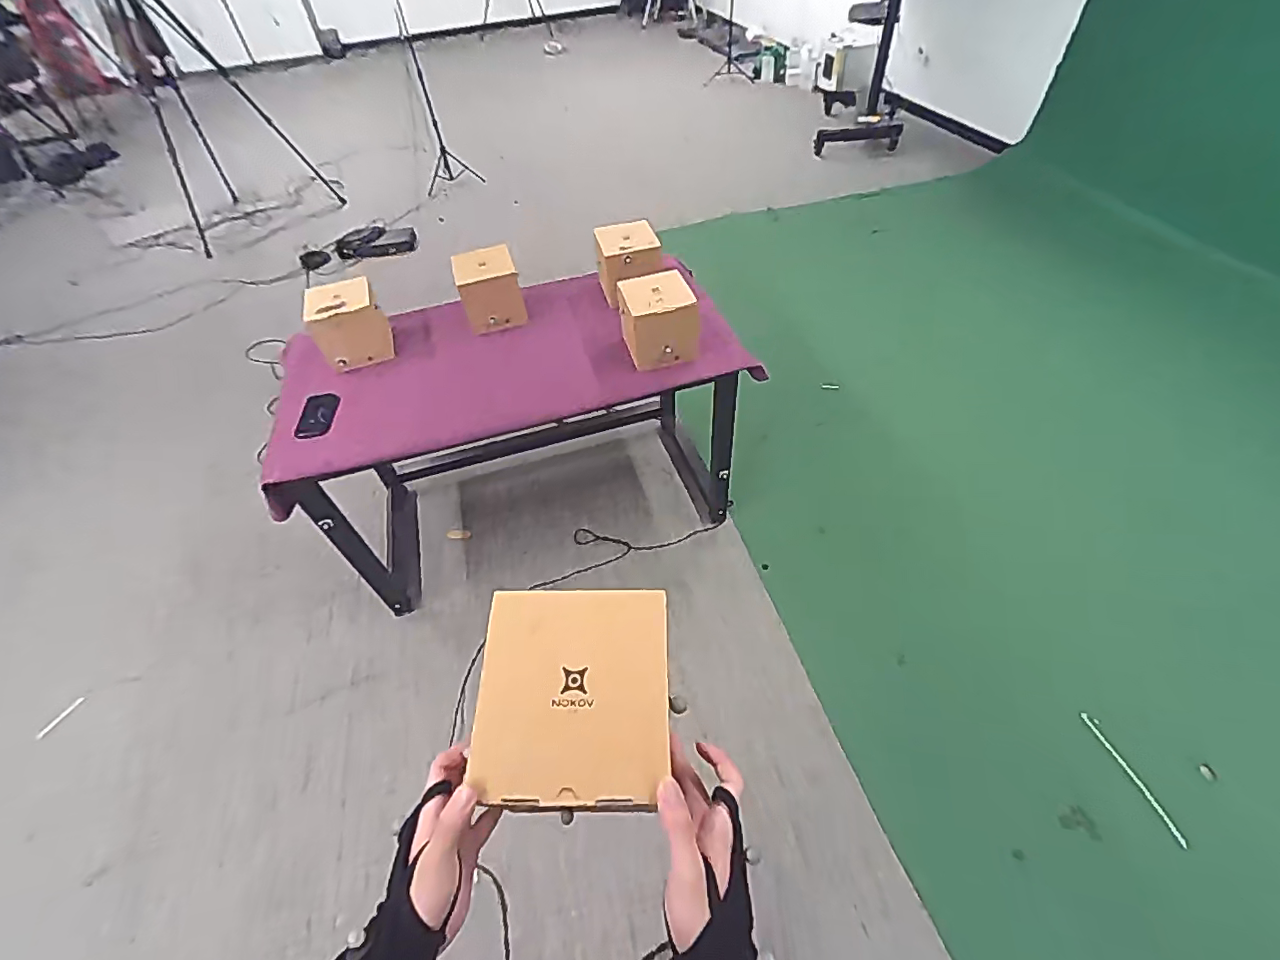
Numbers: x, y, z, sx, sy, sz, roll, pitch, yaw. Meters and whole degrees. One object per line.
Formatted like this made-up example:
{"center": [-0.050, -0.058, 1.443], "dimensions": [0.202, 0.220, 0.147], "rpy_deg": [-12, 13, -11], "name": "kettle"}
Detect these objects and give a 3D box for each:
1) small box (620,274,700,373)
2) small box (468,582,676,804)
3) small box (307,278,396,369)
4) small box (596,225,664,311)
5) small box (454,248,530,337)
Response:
{"center": [0.051, -0.405, 1.404], "dimensions": [0.168, 0.176, 0.179], "rpy_deg": [-14, 49, -6], "name": "small box"}
{"center": [-0.053, 0.214, 0.532], "dimensions": [0.168, 0.176, 0.179], "rpy_deg": [0, 58, 0], "name": "small box"}
{"center": [-0.790, -0.425, 1.492], "dimensions": [0.168, 0.176, 0.179], "rpy_deg": [-17, 49, -11], "name": "small box"}
{"center": [-0.028, -0.631, 1.612], "dimensions": [0.168, 0.176, 0.179], "rpy_deg": [-13, 49, -6], "name": "small box"}
{"center": [-0.427, -0.542, 1.568], "dimensions": [0.168, 0.176, 0.179], "rpy_deg": [-16, 50, -8], "name": "small box"}
